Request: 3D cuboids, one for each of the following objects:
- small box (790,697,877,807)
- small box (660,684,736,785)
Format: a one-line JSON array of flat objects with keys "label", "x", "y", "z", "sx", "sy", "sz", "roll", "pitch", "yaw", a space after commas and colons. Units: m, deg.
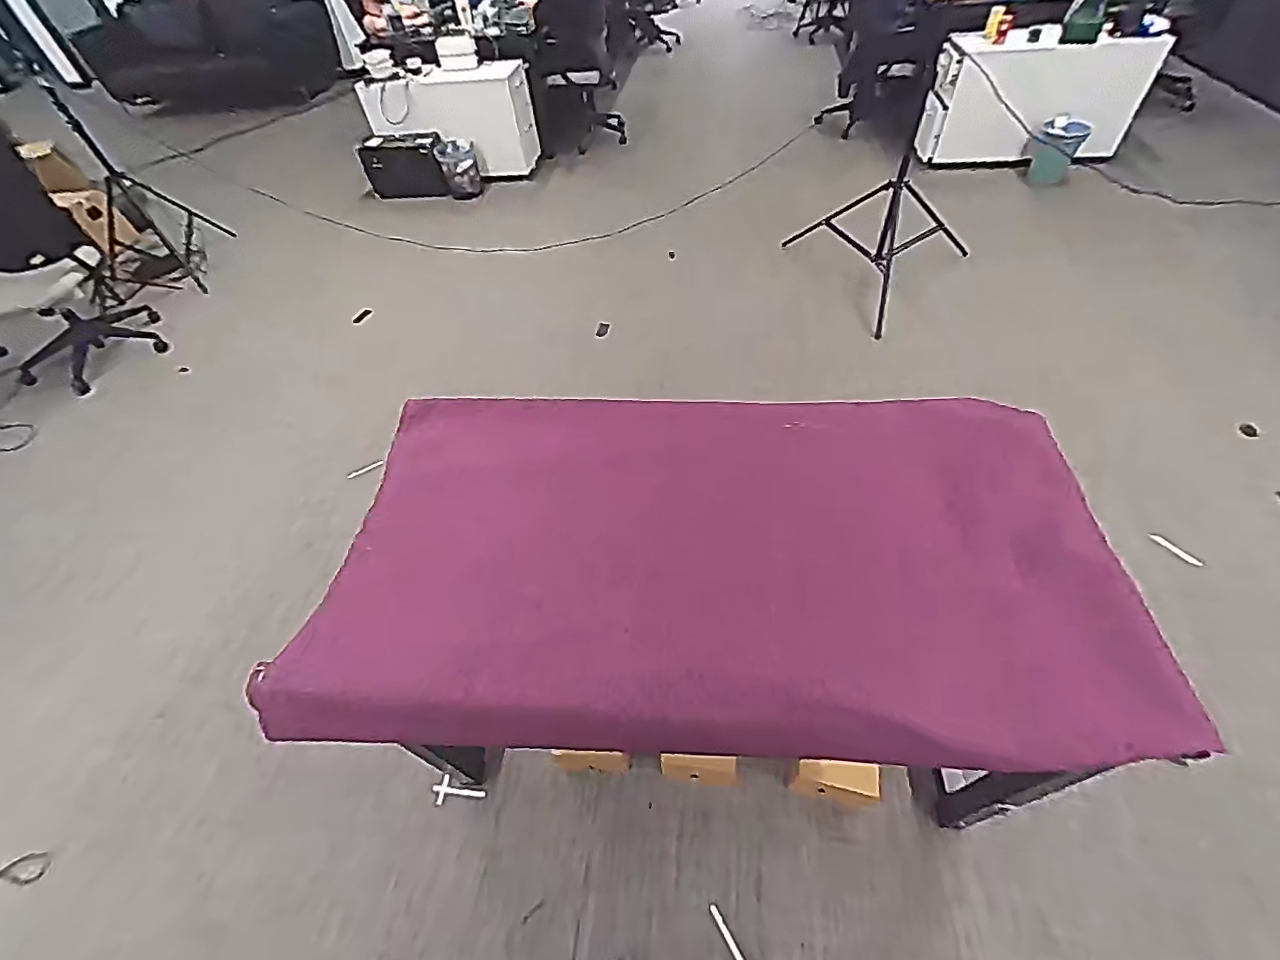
[{"label": "small box", "x": 0.448, "y": 0.640, "z": 1.263, "sx": 0.168, "sy": 0.176, "sz": 0.179, "roll": 9, "pitch": 51, "yaw": 13}, {"label": "small box", "x": 0.144, "y": 0.619, "z": 1.308, "sx": 0.168, "sy": 0.176, "sz": 0.179, "roll": 4, "pitch": 50, "yaw": 8}]
